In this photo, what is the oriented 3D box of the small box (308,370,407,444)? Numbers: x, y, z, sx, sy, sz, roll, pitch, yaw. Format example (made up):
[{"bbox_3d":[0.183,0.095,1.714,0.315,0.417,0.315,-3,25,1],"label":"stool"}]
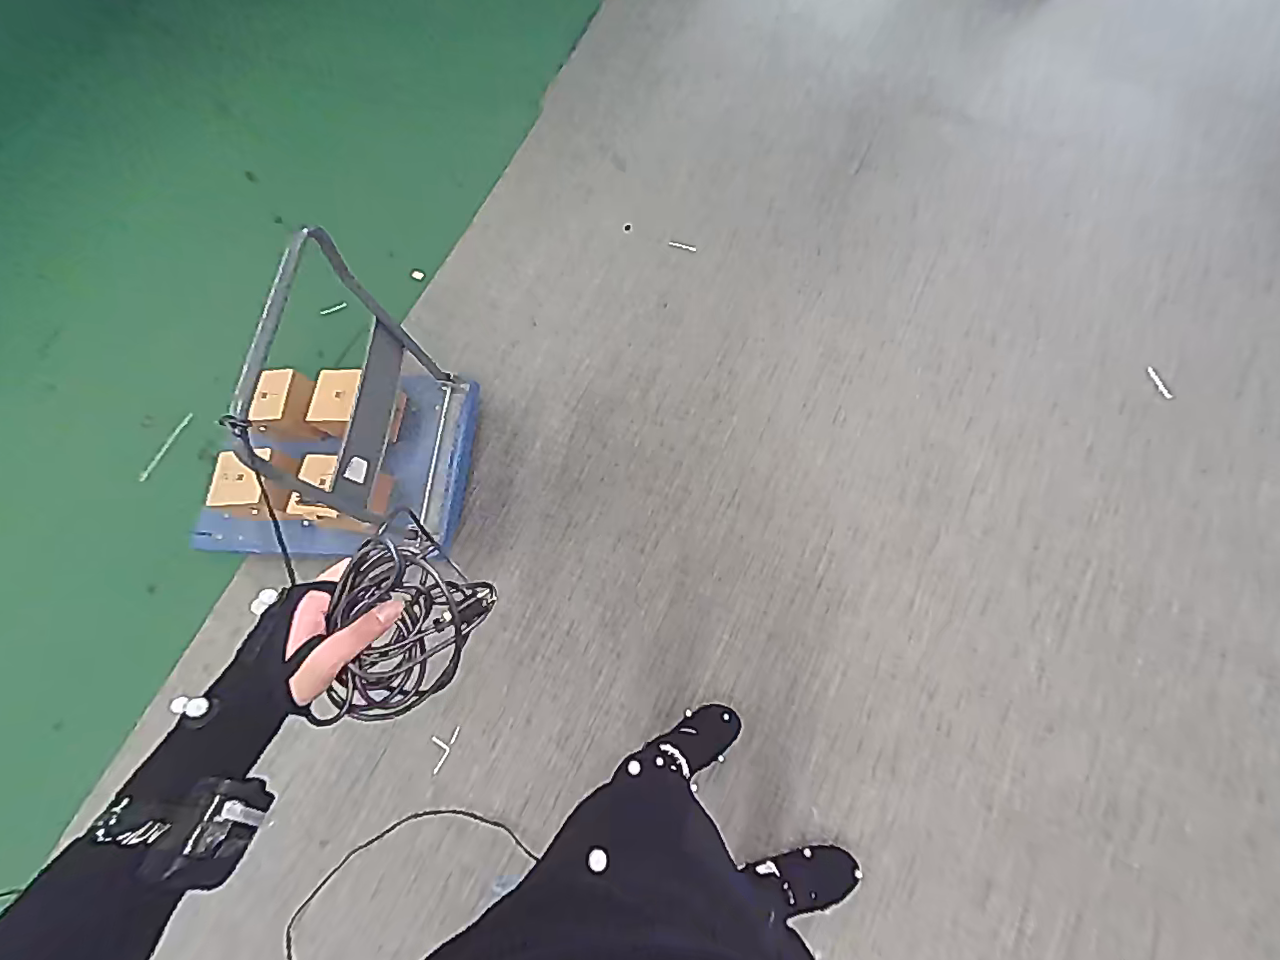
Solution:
[{"bbox_3d":[-0.836,-0.212,1.613,0.179,0.176,0.168,1,71,12],"label":"small box"}]

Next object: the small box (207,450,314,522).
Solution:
[{"bbox_3d":[-1.101,0.021,1.585,0.179,0.176,0.168,-4,69,11],"label":"small box"}]

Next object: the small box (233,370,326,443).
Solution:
[{"bbox_3d":[-1.094,-0.221,1.670,0.179,0.176,0.168,-1,71,11],"label":"small box"}]
